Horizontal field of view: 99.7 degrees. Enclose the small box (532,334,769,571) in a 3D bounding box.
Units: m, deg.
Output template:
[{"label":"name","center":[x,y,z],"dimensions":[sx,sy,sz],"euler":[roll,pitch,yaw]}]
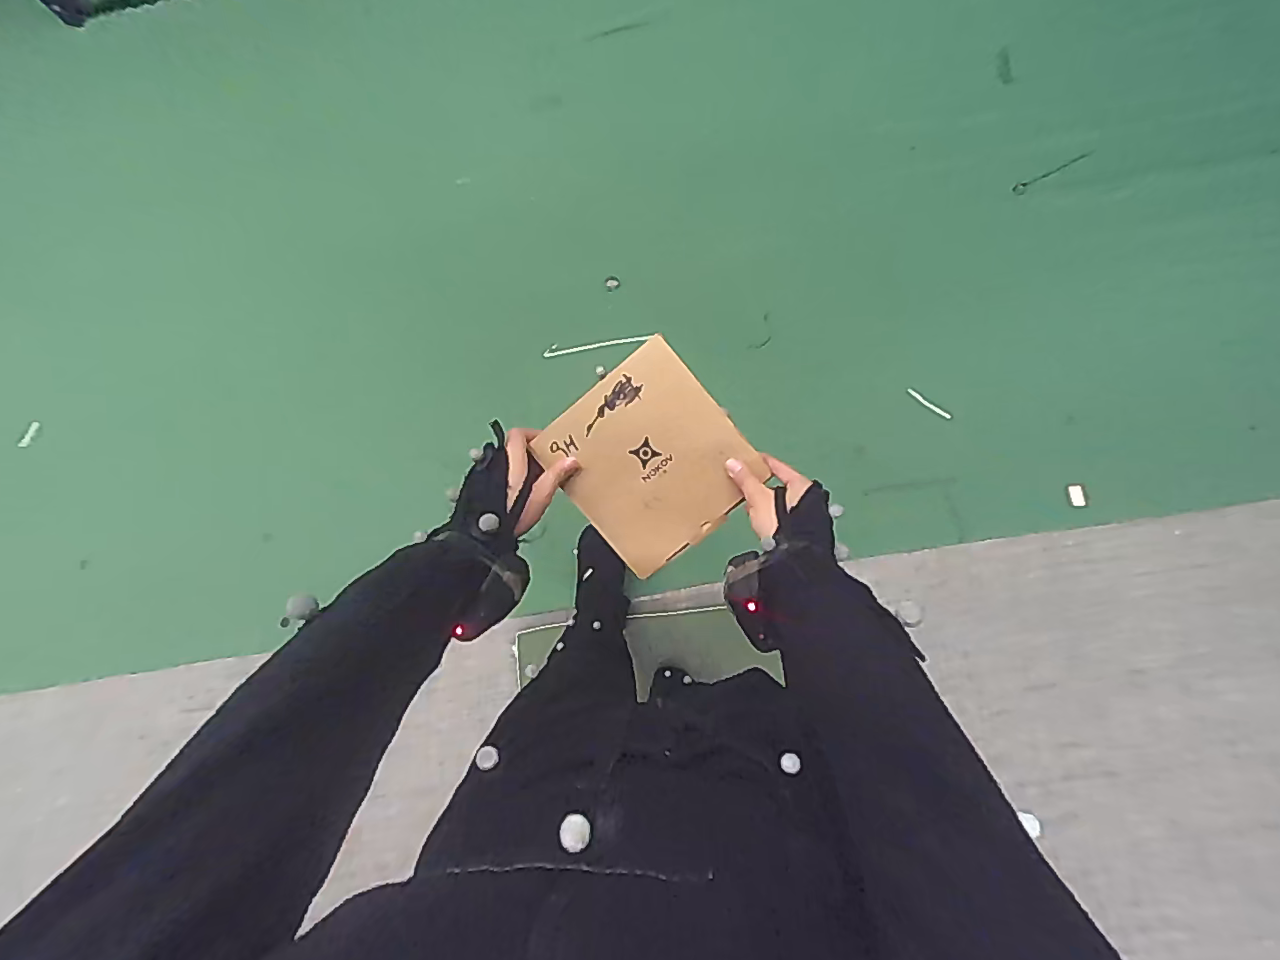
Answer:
[{"label":"small box","center":[0.012,-0.034,0.600],"dimensions":[0.168,0.176,0.179],"euler":[-40,95,4]}]
